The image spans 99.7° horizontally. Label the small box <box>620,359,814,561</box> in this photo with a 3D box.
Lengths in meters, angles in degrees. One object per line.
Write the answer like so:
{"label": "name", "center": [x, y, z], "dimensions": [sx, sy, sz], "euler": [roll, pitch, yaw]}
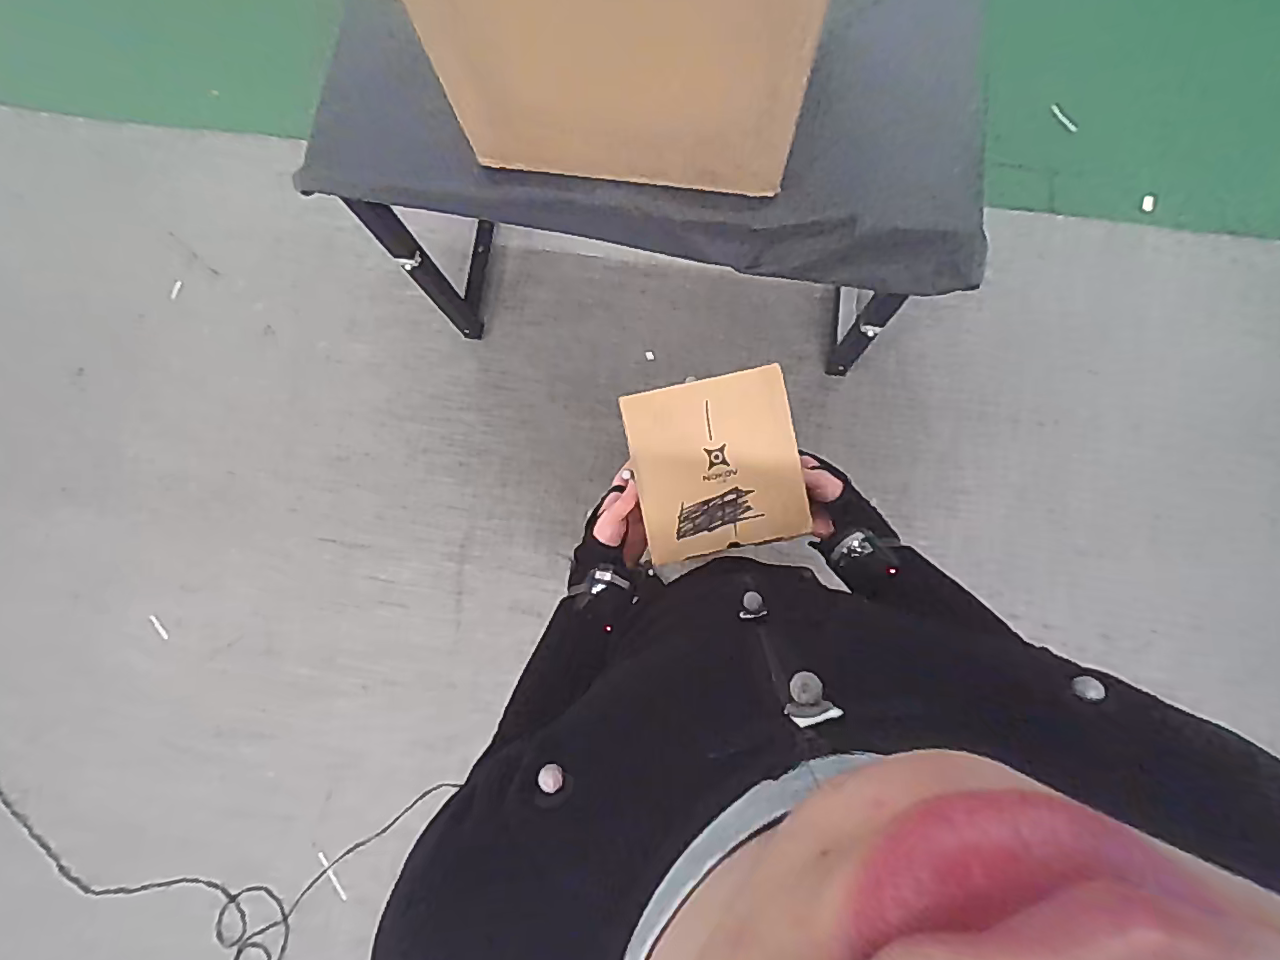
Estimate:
{"label": "small box", "center": [0.078, -0.024, 0.617], "dimensions": [0.168, 0.176, 0.179], "euler": [-13, 93, 0]}
